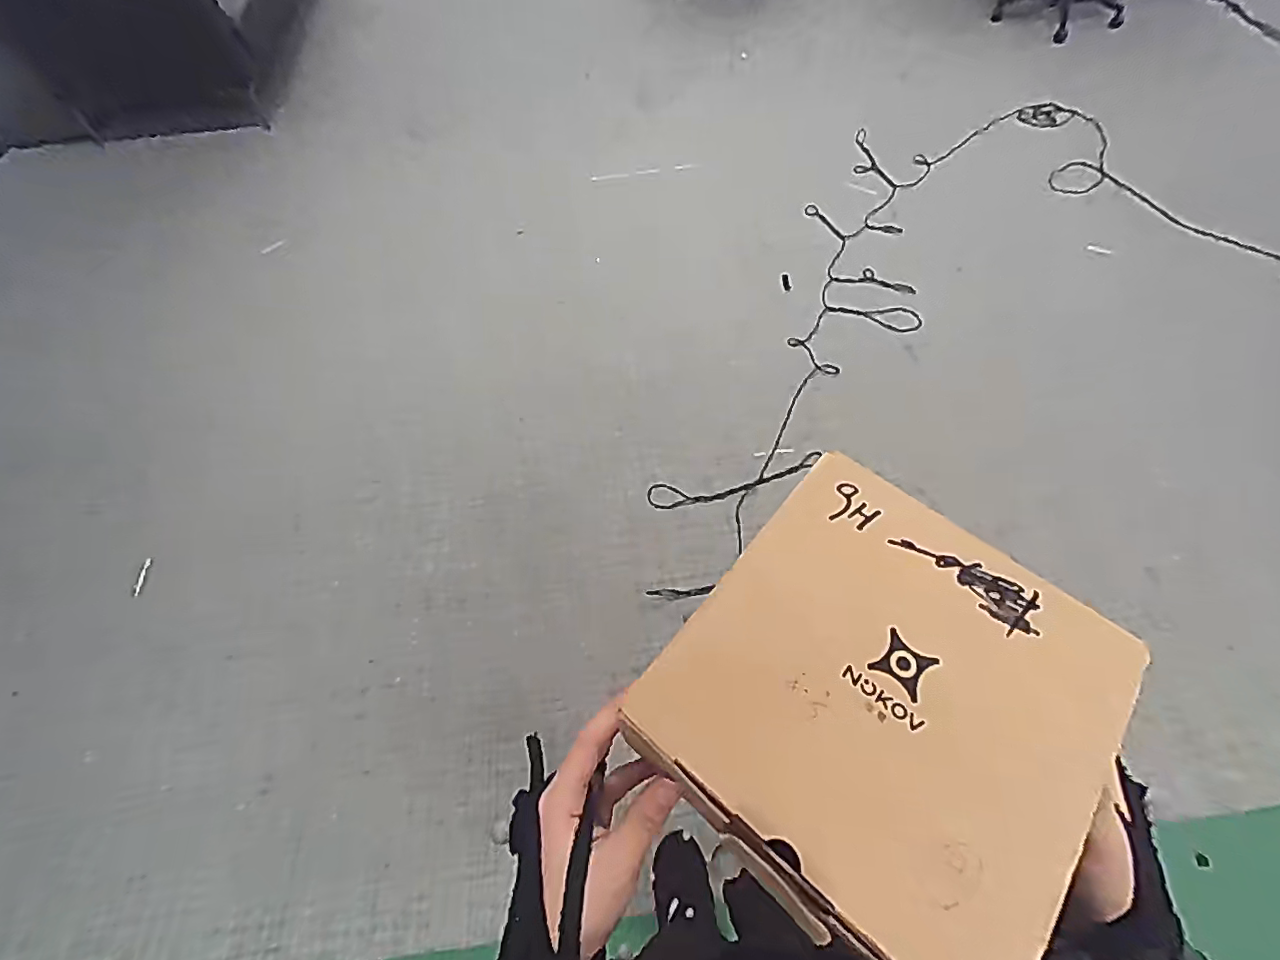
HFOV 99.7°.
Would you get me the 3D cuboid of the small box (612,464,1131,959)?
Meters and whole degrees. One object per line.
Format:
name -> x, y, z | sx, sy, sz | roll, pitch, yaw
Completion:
small box -> 0.106, 0.131, 0.308 | 0.168, 0.176, 0.179 | 37, 67, 19
